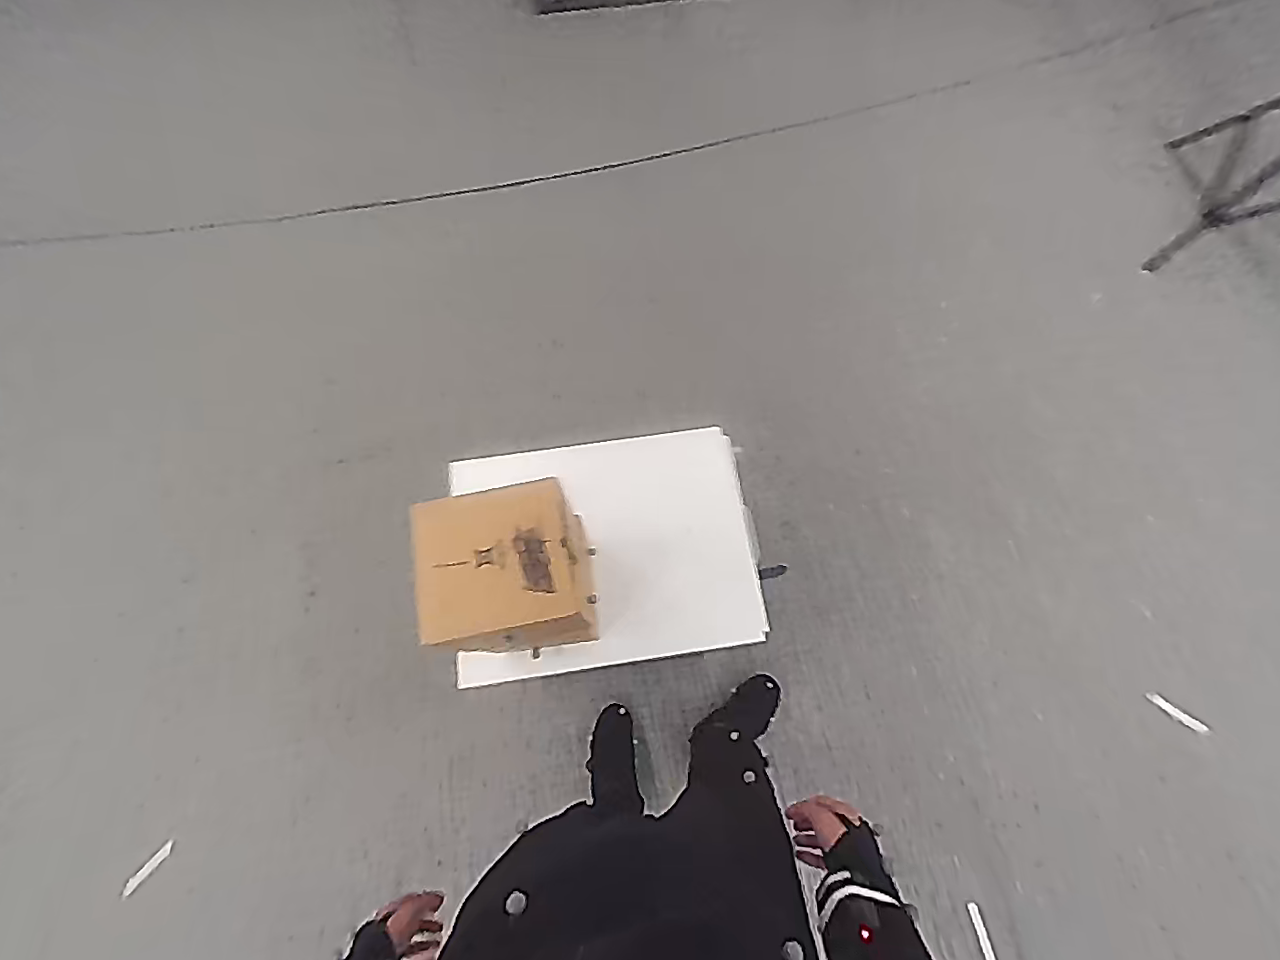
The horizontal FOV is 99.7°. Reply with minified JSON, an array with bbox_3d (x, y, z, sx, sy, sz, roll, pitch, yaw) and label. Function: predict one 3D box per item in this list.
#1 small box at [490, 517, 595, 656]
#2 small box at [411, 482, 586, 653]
[{"bbox_3d":[-0.162,0.171,0.840,0.168,0.176,0.179,-7,70,-3],"label":"small box"},{"bbox_3d":[-0.167,0.118,0.685,0.179,0.176,0.168,-11,70,-3],"label":"small box"}]
